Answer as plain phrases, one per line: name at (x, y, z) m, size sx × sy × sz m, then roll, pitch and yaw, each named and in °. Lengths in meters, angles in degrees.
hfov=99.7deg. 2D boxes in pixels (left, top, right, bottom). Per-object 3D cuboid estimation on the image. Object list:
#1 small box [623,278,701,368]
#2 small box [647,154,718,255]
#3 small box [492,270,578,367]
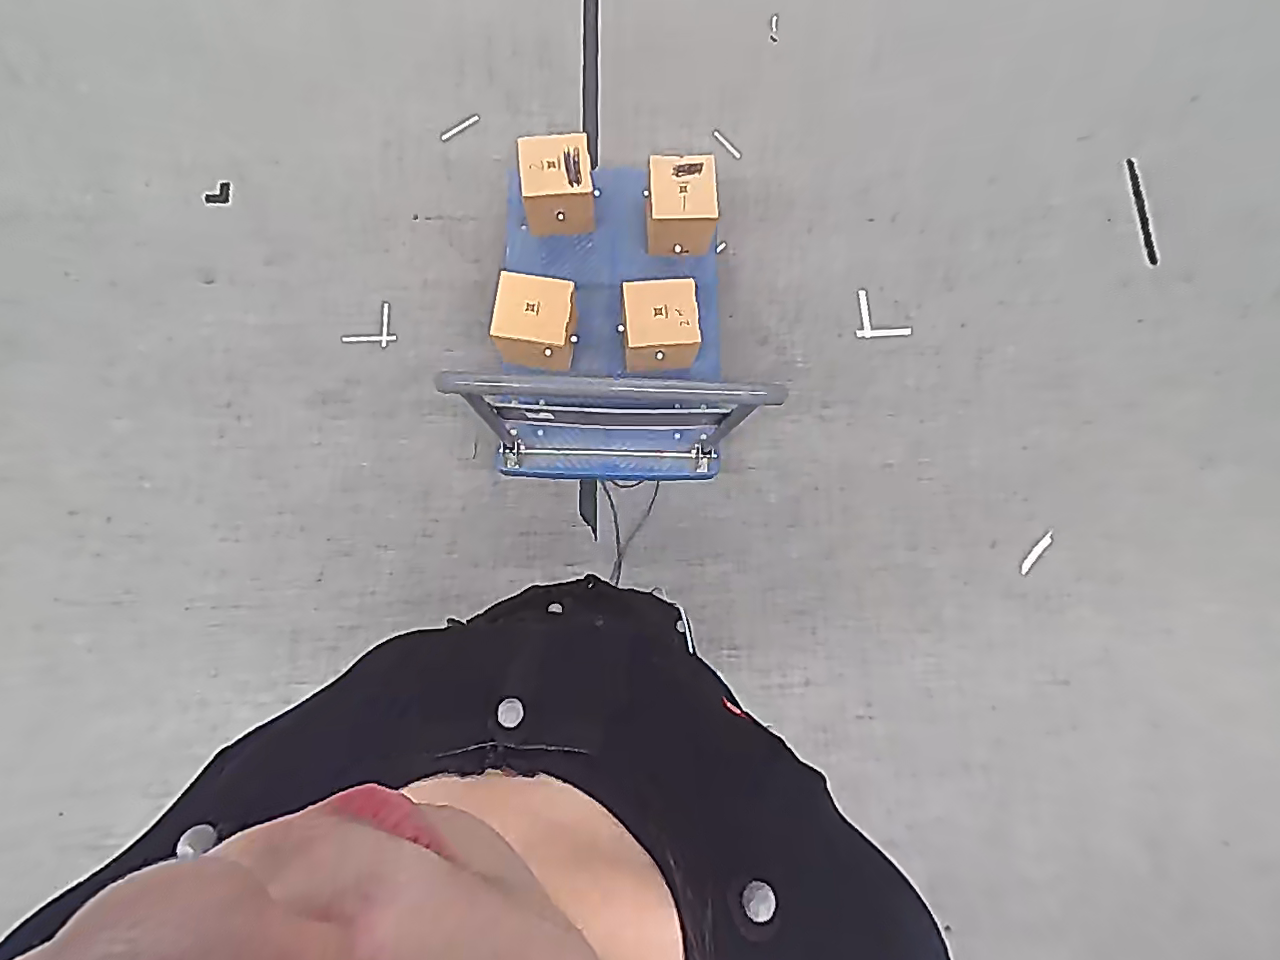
small box at (0.049, -0.390, 1.368) m, size 0.179 × 0.176 × 0.168 m, roll -4°, pitch 81°, yaw -4°
small box at (0.107, -0.720, 1.425) m, size 0.168 × 0.176 × 0.179 m, roll -2°, pitch 82°, yaw -3°
small box at (-0.254, -0.395, 1.353) m, size 0.179 × 0.176 × 0.168 m, roll 7°, pitch 80°, yaw -3°
